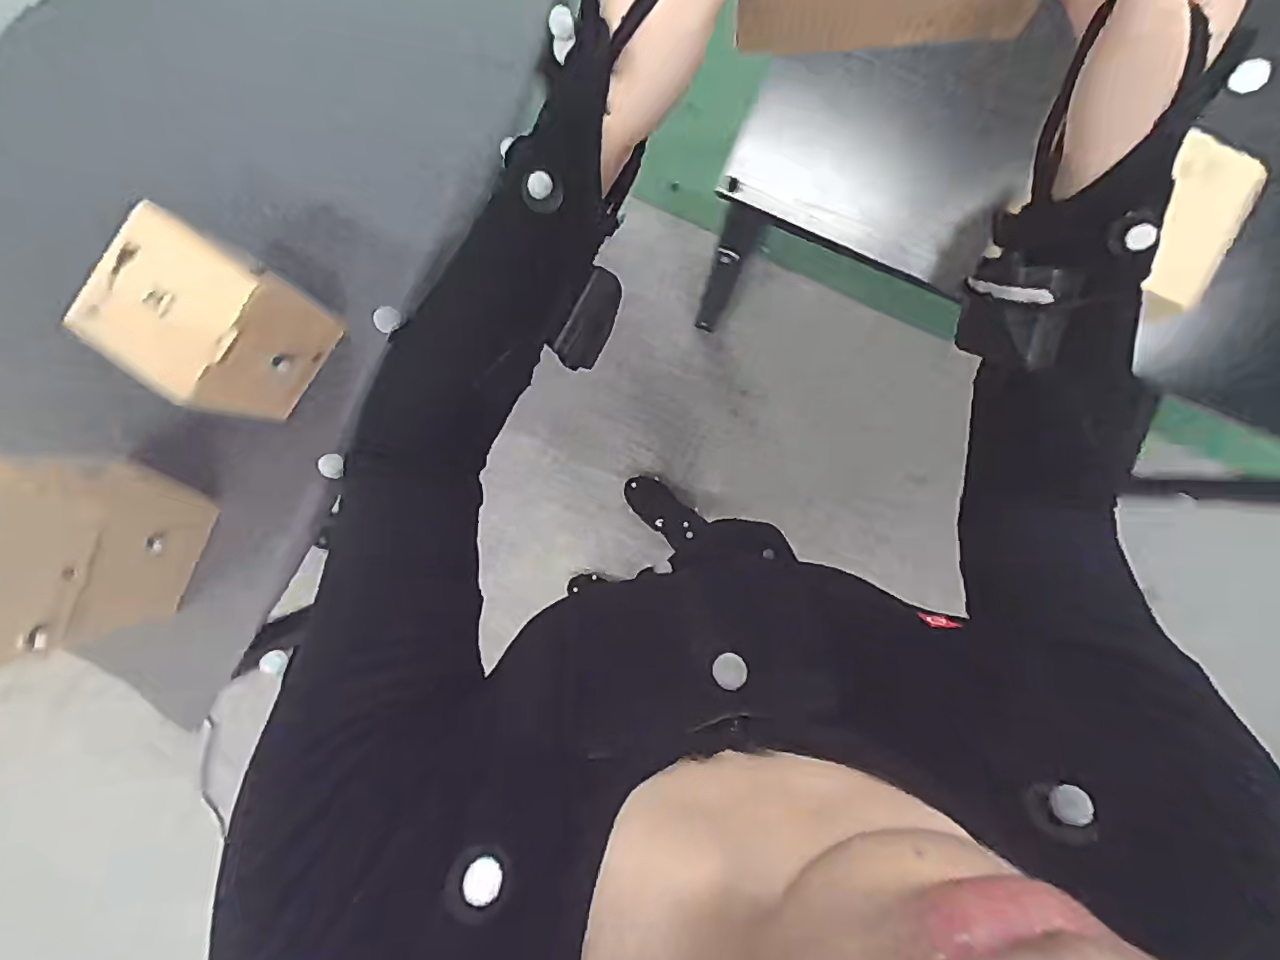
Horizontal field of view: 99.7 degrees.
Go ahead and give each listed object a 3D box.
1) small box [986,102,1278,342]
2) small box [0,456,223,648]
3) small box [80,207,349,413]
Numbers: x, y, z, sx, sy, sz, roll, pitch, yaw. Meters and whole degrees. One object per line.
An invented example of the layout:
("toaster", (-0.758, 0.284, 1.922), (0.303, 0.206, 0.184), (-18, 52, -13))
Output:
("small box", (0.567, -0.291, 0.655), (0.168, 0.176, 0.179), (28, 92, 1))
("small box", (-0.701, 0.082, 0.705), (0.168, 0.176, 0.179), (25, 92, 4))
("small box", (-0.523, -0.199, 0.694), (0.179, 0.176, 0.168), (35, 92, 2))
